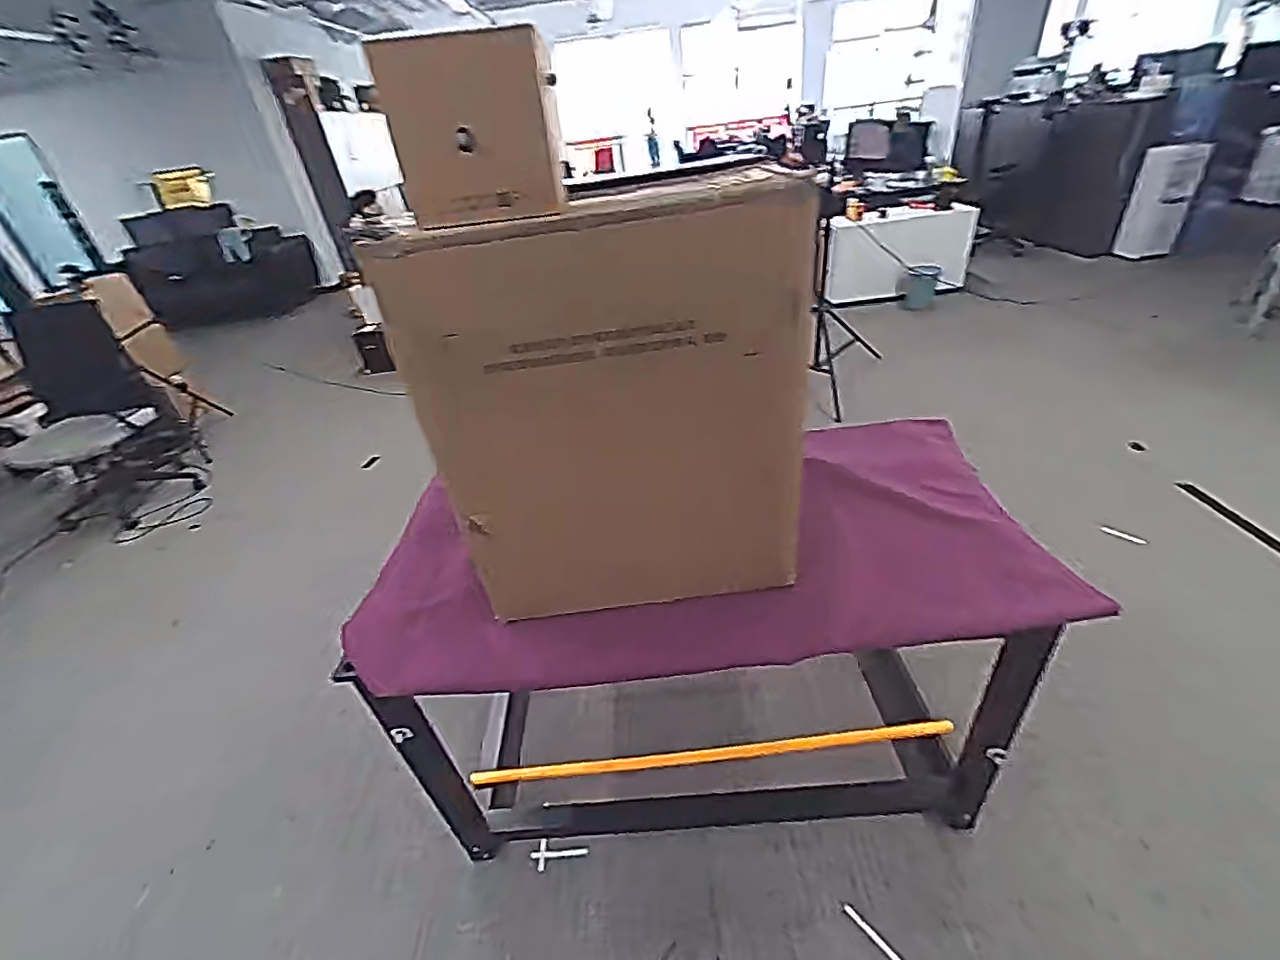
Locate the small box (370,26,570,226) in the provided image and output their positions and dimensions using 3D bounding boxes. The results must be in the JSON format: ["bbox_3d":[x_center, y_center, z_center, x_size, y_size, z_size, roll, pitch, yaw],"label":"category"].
[{"bbox_3d":[-0.176,-0.400,0.628,0.168,0.176,0.179,-6,34,-1],"label":"small box"}]
